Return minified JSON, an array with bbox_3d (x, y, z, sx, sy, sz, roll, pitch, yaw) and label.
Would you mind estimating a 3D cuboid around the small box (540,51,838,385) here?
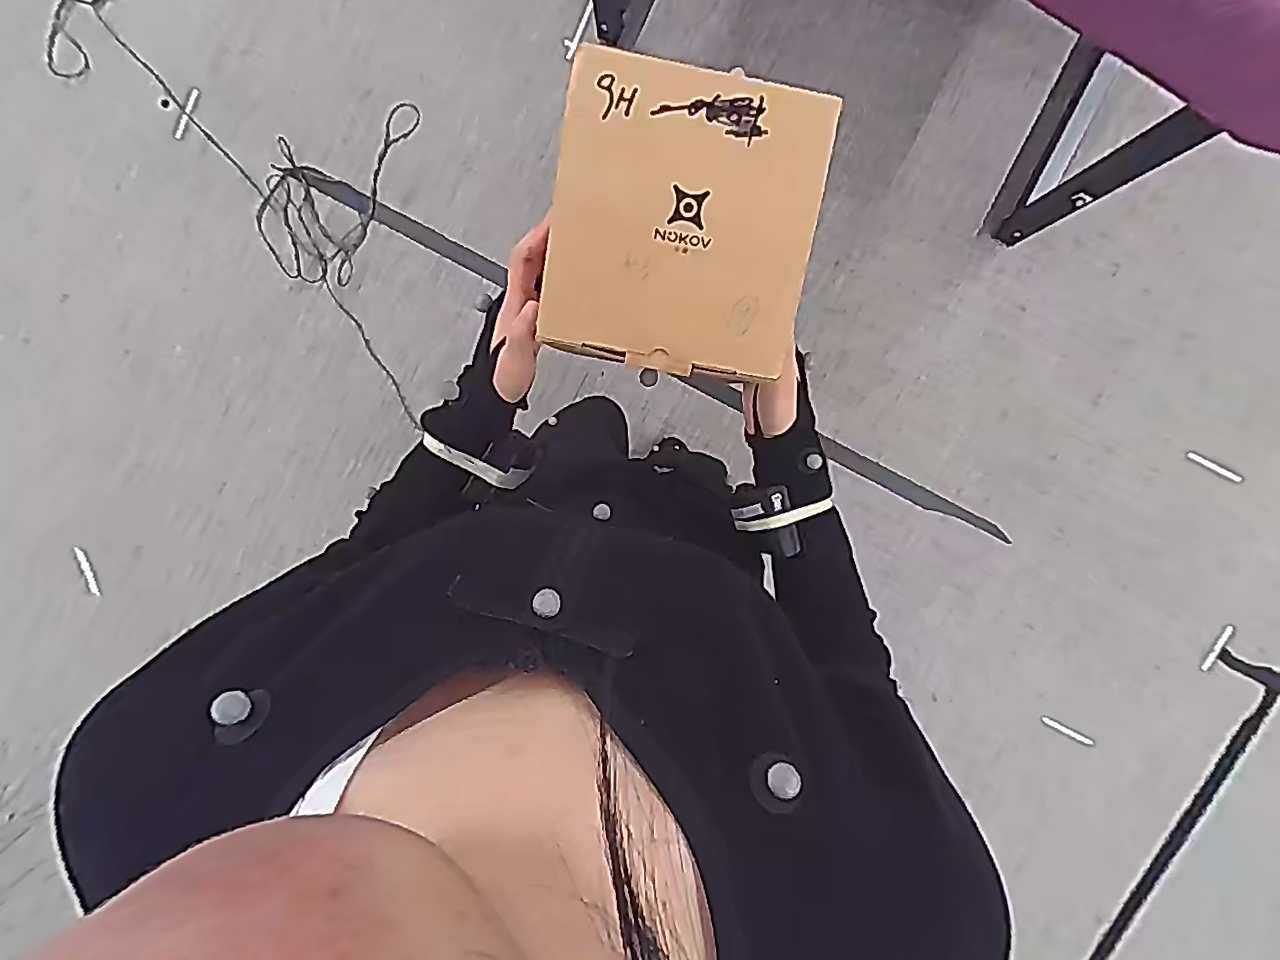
[{"bbox_3d":[0.027,-0.177,0.424,0.168,0.176,0.179,10,101,-4],"label":"small box"}]
